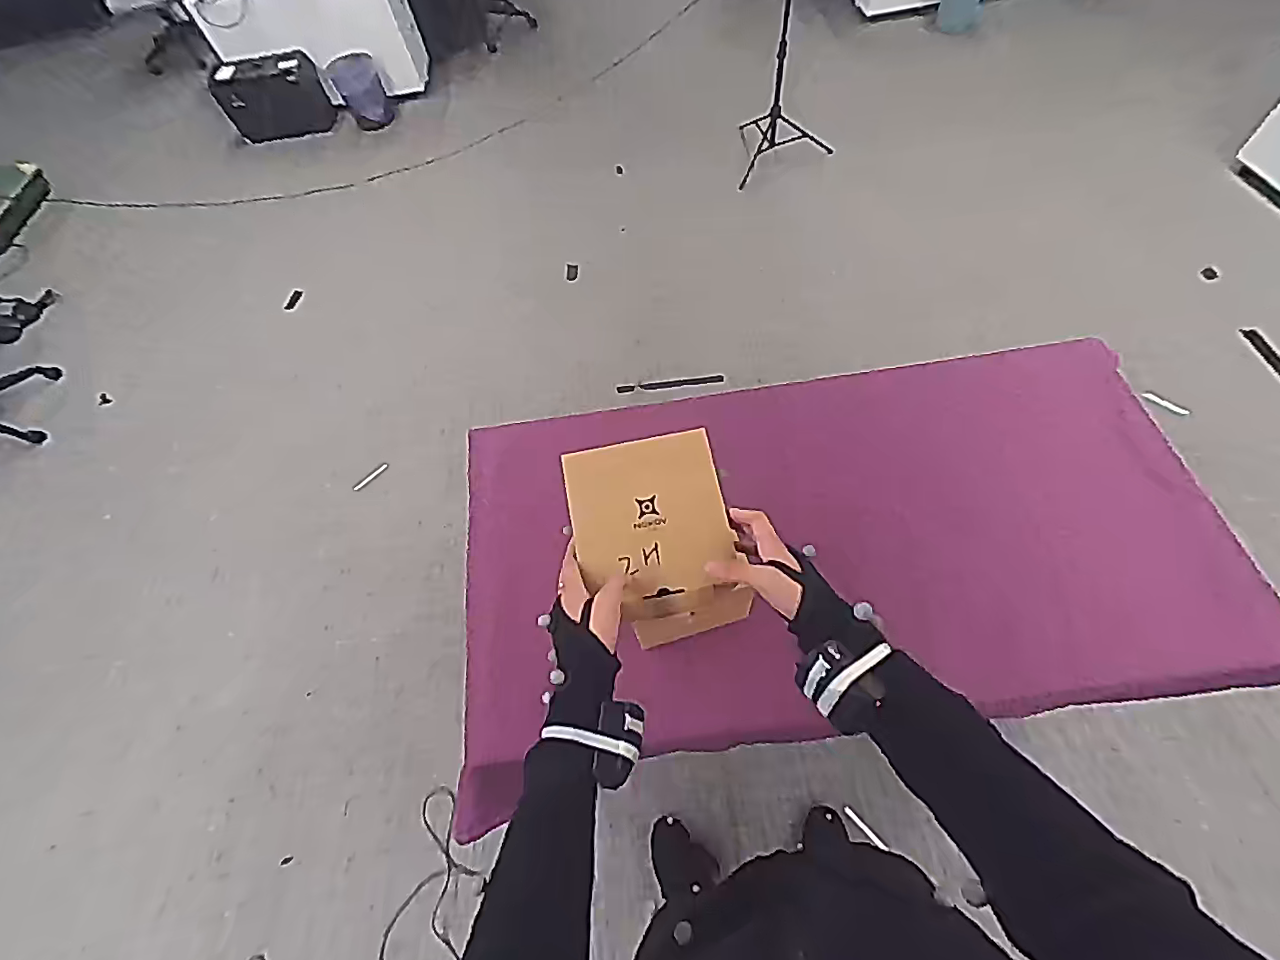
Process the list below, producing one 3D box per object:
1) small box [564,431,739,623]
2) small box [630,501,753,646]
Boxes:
[{"bbox_3d":[0.011,0.065,0.654,0.168,0.176,0.179,-11,70,0],"label":"small box"},{"bbox_3d":[0.056,0.135,0.816,0.179,0.176,0.168,-16,61,-4],"label":"small box"}]
